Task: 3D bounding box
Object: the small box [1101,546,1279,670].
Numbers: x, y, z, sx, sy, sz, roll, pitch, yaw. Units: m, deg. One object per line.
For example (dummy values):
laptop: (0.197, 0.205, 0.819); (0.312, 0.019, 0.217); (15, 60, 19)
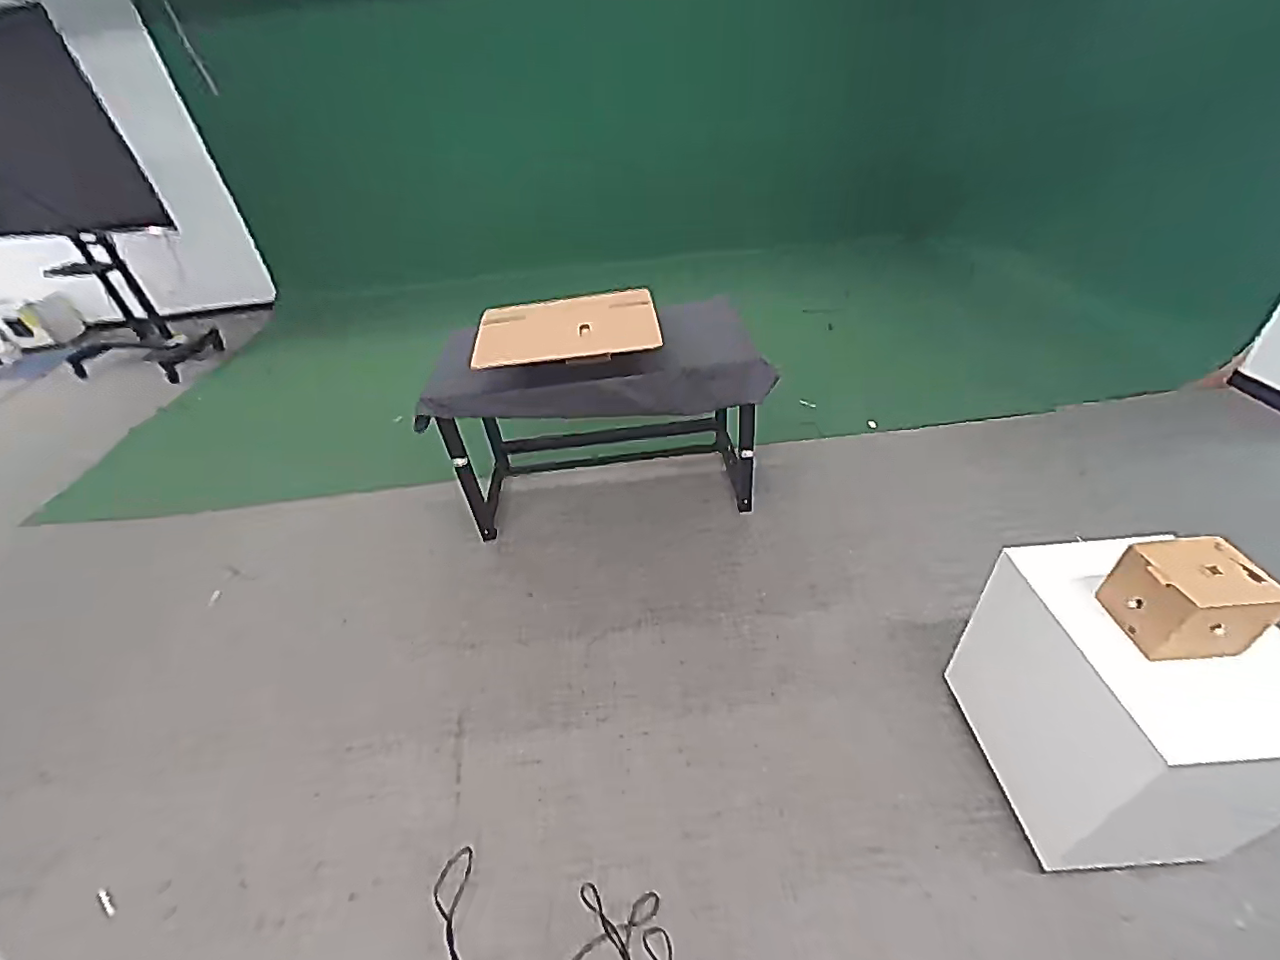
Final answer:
small box: (1.063, 0.254, 1.062); (0.179, 0.176, 0.168); (-6, 37, -1)
